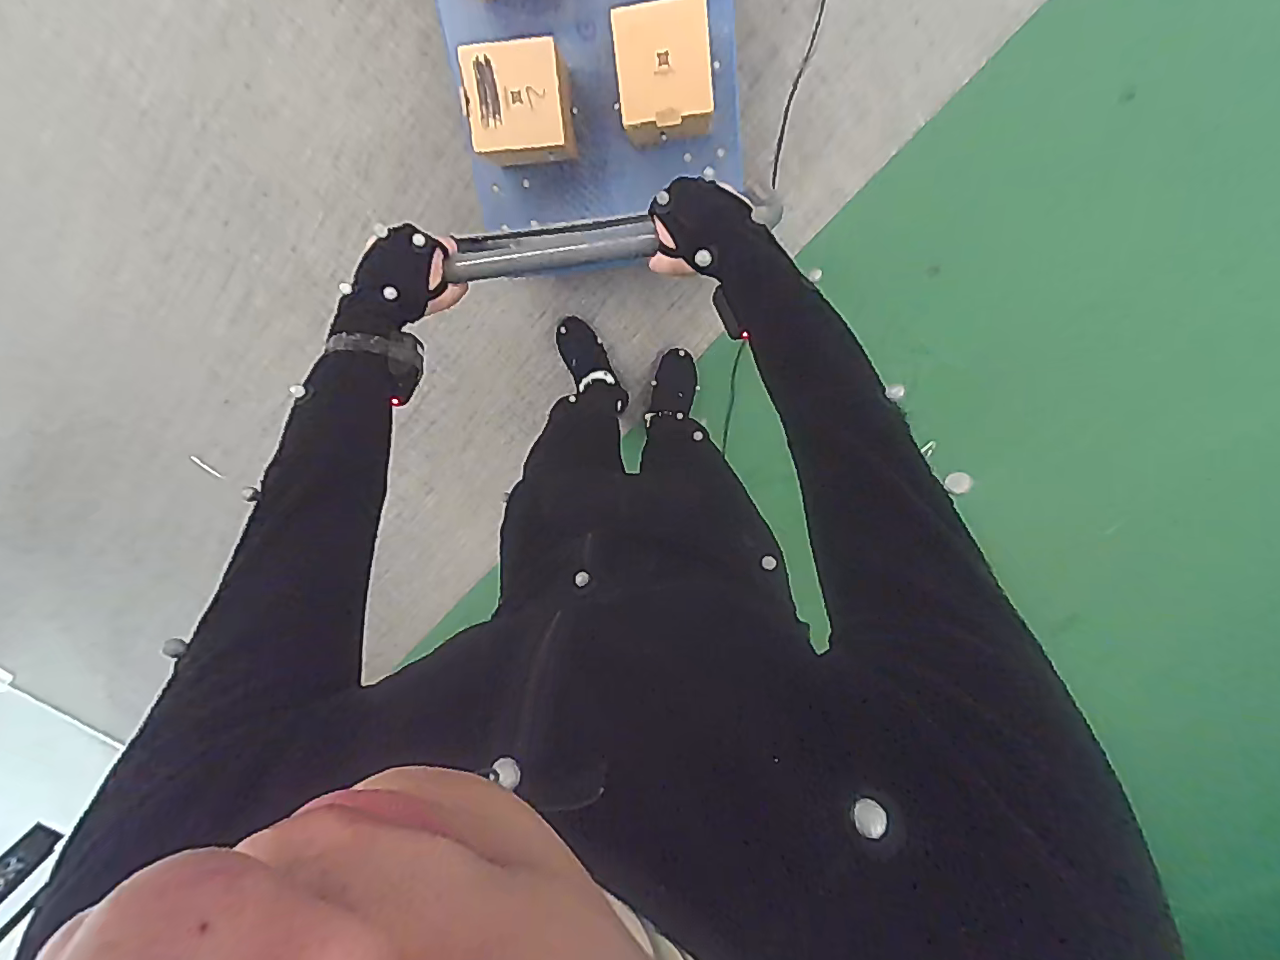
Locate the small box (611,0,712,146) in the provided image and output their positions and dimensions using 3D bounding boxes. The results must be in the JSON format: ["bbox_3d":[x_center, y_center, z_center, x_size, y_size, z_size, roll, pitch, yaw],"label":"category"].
[{"bbox_3d":[0.043,-0.754,1.017,0.168,0.176,0.179,-6,113,6],"label":"small box"}]
